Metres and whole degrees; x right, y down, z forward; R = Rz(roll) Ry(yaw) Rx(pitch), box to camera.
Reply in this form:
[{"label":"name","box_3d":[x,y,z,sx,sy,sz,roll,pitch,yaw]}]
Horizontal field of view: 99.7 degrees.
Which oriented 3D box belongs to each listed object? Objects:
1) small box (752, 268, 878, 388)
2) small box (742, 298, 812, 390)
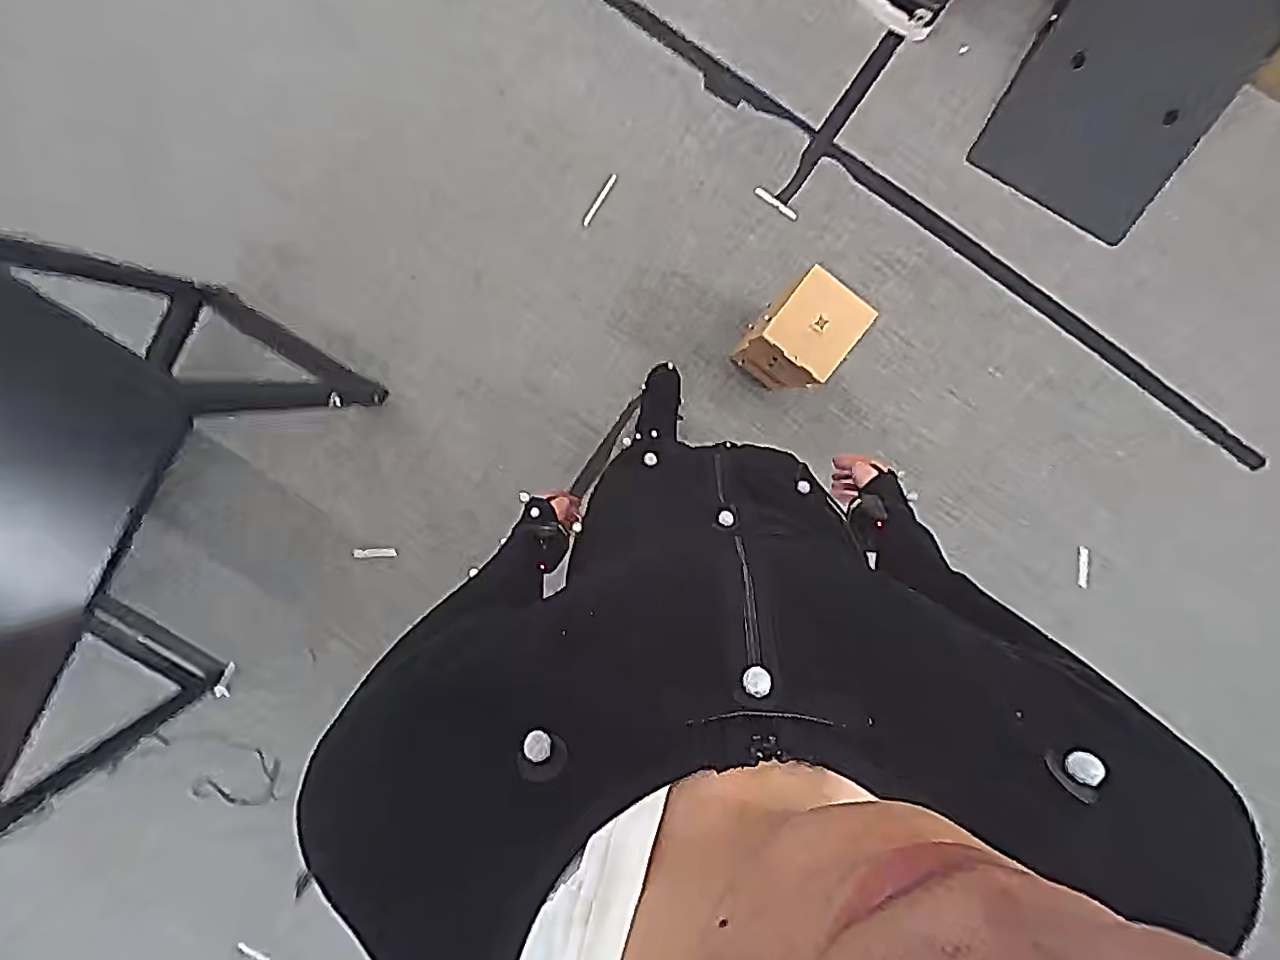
[{"label":"small box","box_3d":[0.362,-0.317,1.160,0.168,0.176,0.179,36,99,-5]},{"label":"small box","box_3d":[0.371,-0.332,1.322,0.179,0.176,0.168,34,98,-5]}]
